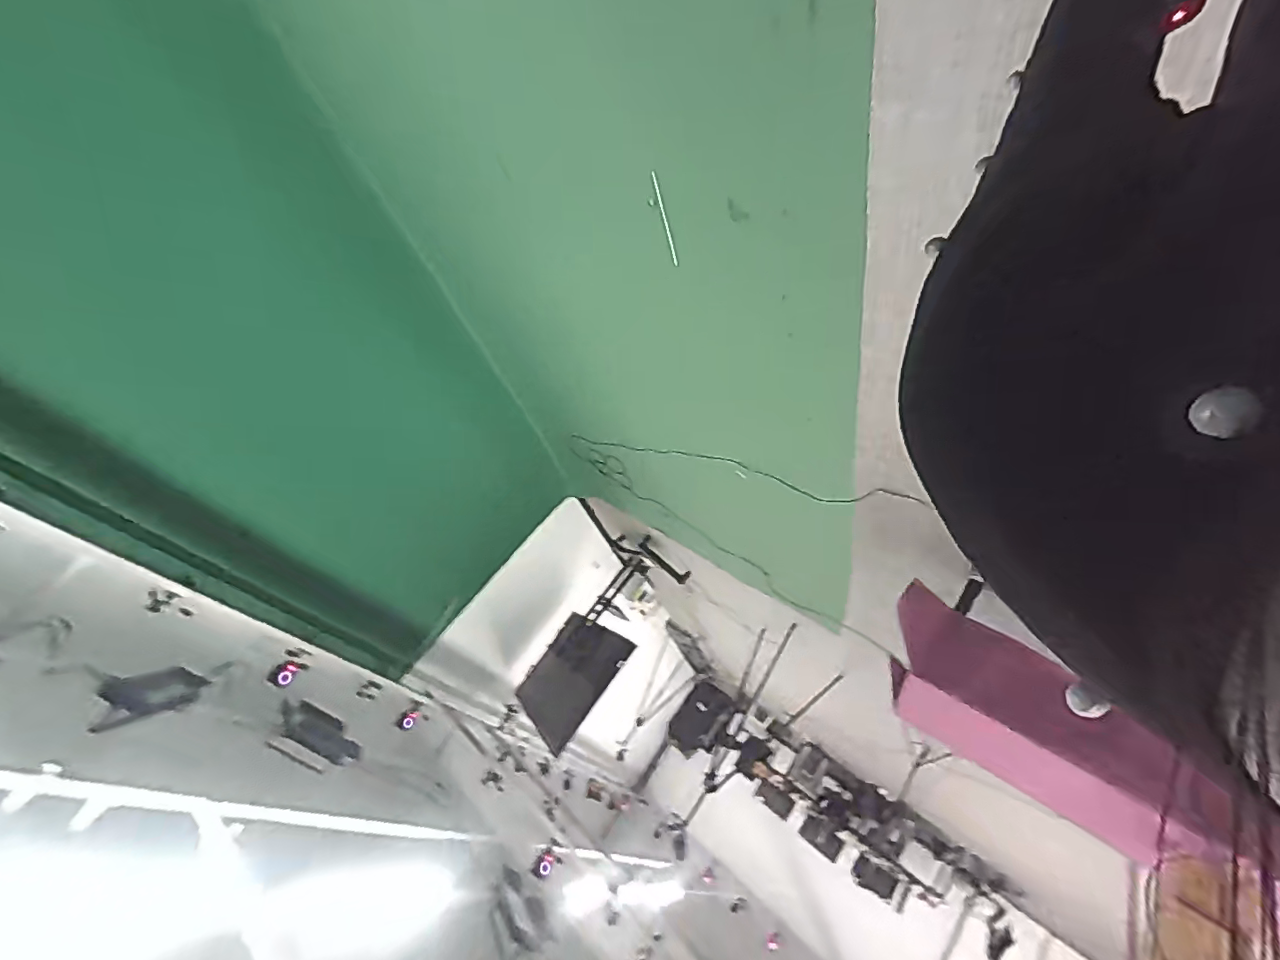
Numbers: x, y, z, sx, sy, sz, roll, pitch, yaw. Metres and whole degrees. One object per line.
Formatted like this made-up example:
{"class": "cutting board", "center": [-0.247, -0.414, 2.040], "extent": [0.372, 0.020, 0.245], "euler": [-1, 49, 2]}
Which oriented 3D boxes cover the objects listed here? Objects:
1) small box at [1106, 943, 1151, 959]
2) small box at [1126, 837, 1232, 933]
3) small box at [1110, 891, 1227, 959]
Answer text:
{"class": "small box", "center": [1.361, 1.395, 1.455], "extent": [0.168, 0.176, 0.179], "euler": [23, 155, 42]}
{"class": "small box", "center": [1.578, 1.185, 1.584], "extent": [0.168, 0.176, 0.179], "euler": [26, 157, 39]}
{"class": "small box", "center": [1.471, 1.289, 1.510], "extent": [0.179, 0.176, 0.168], "euler": [25, 155, 39]}
